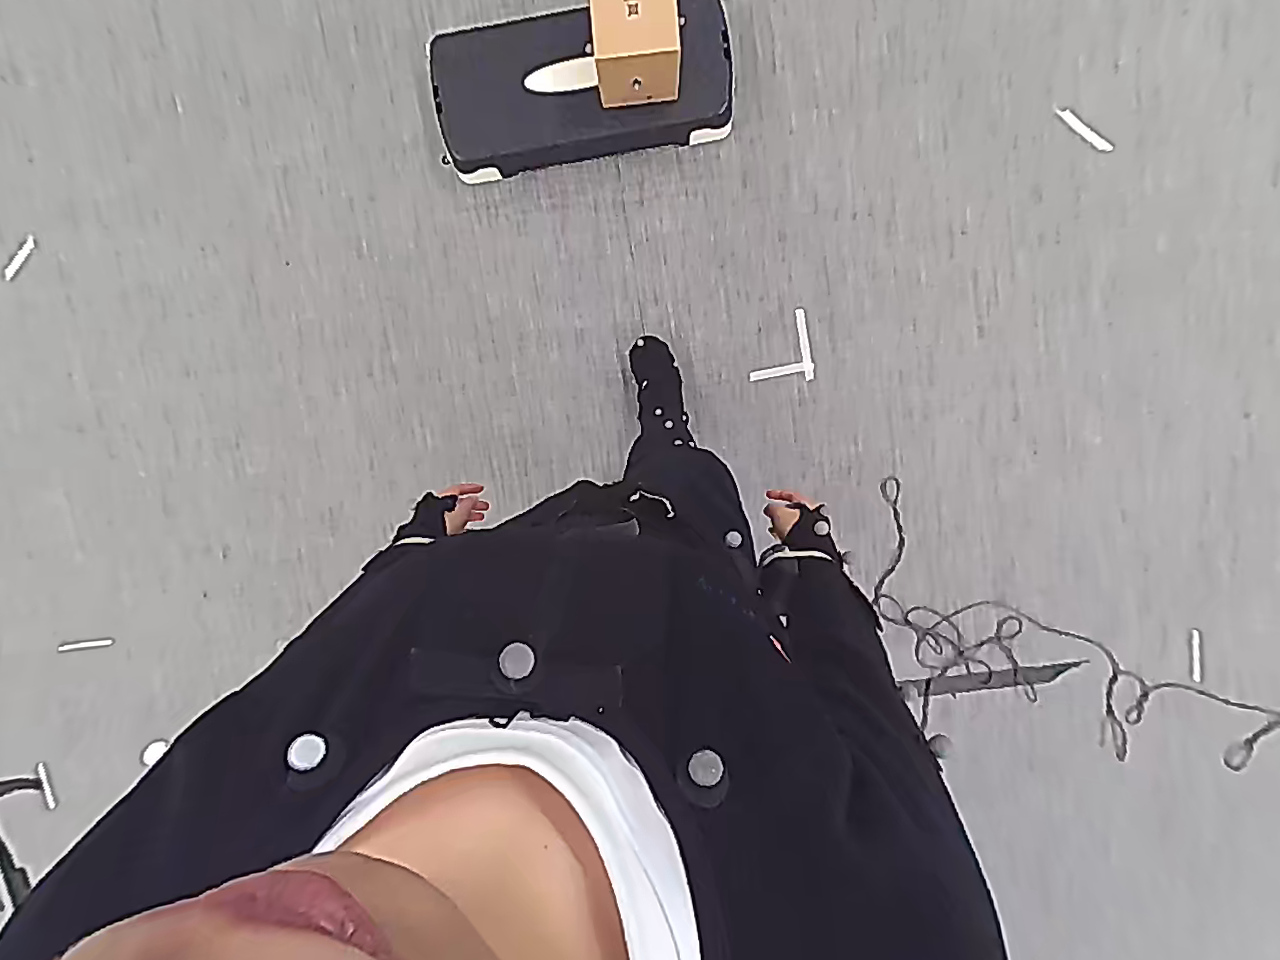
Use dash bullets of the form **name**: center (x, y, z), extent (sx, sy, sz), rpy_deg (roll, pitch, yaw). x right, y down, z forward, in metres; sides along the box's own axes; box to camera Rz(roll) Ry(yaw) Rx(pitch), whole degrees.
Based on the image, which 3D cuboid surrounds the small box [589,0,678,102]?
- **small box**: center (-0.010, -0.897, 1.091), extent (0.168, 0.176, 0.179), rpy_deg (-4, 96, 2)
